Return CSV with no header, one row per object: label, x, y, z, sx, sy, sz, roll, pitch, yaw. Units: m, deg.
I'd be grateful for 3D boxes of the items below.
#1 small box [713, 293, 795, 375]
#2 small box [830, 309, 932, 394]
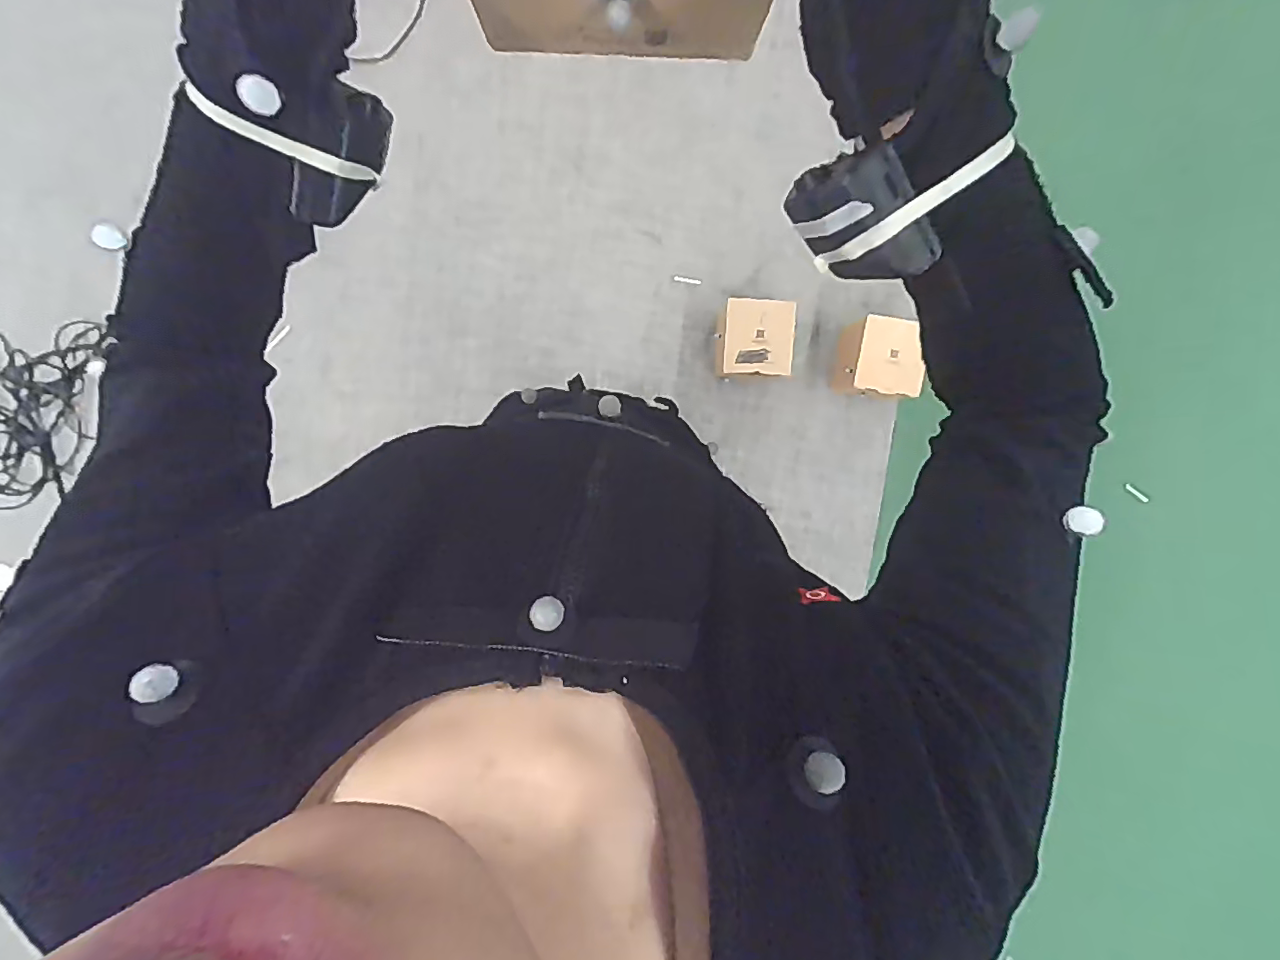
small box,0.278,-0.358,1.356,0.168,0.176,0.179,3,97,-1
small box,0.600,-0.318,1.367,0.168,0.176,0.179,8,98,-1
